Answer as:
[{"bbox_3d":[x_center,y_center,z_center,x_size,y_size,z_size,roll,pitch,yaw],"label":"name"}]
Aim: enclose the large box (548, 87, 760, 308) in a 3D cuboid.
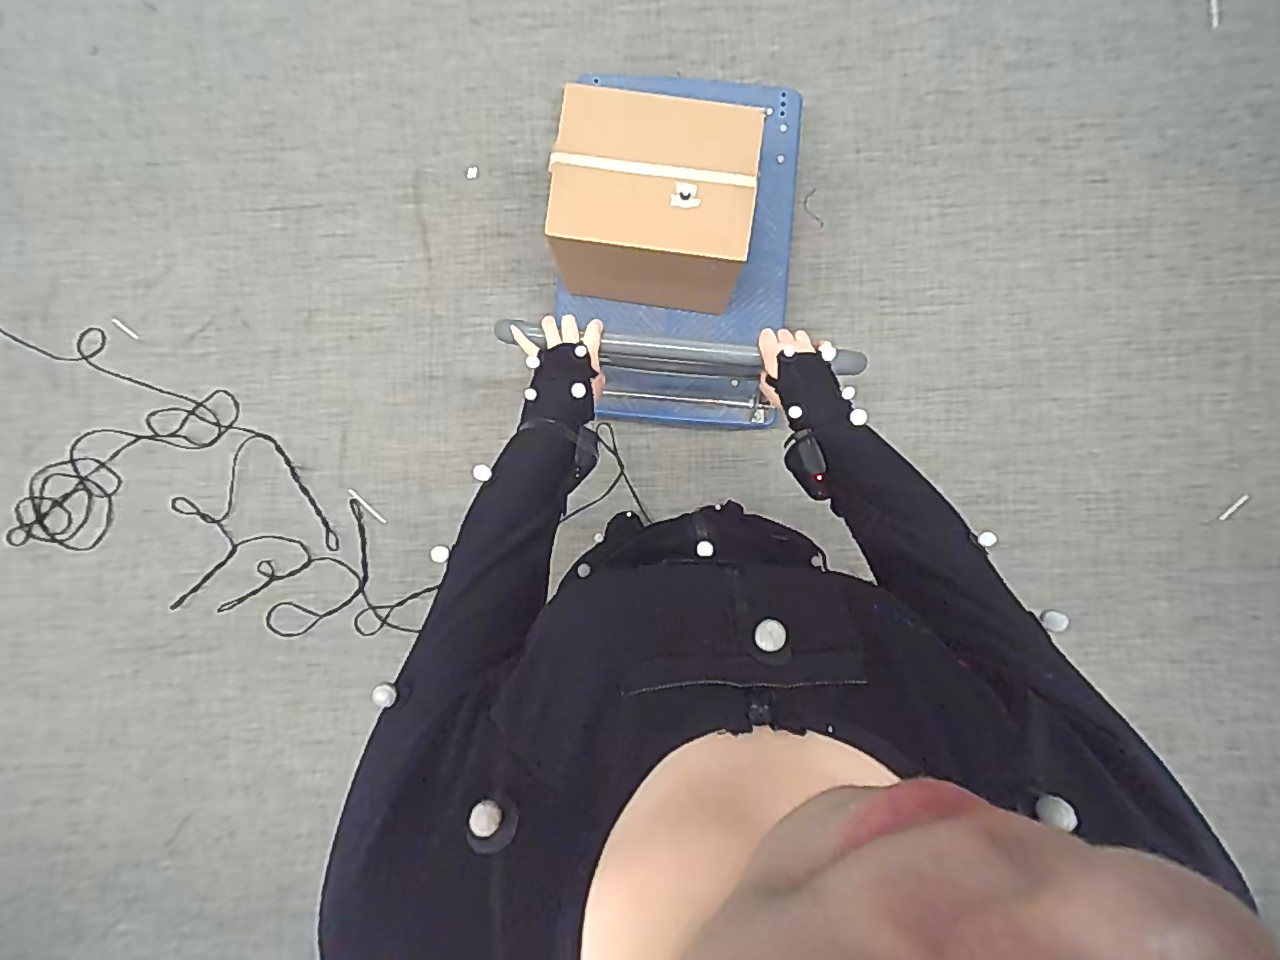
[{"bbox_3d":[0.026,-0.613,1.232,0.408,0.320,0.320,7,88,0],"label":"large box"}]
